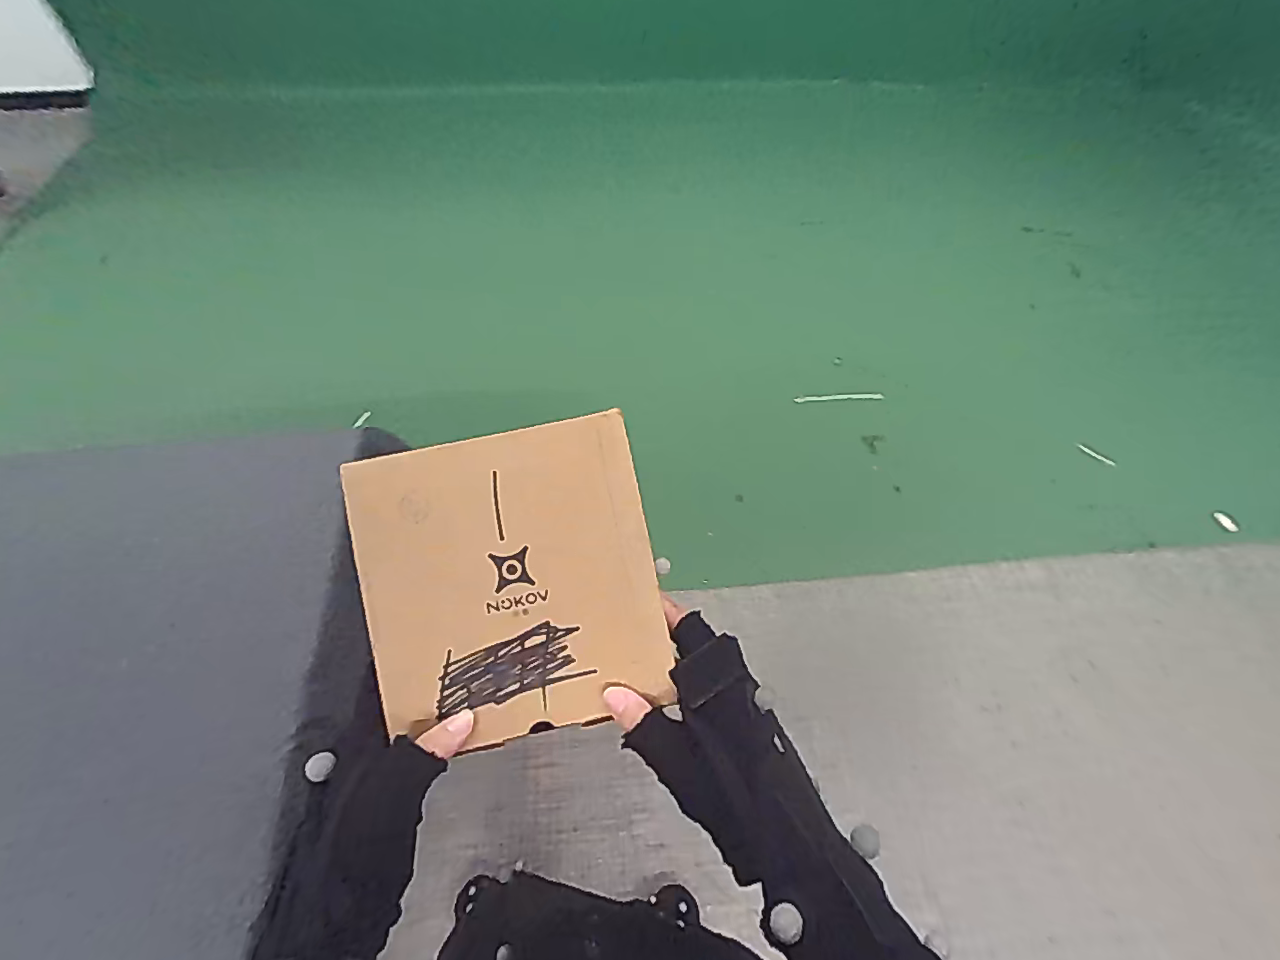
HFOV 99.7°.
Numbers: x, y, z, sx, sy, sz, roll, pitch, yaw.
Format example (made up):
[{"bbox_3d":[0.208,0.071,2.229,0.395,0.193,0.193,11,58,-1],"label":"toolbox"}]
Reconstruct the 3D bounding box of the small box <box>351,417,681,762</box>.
[{"bbox_3d":[-0.075,0.065,0.399,0.168,0.176,0.179,-14,88,-3],"label":"small box"}]
